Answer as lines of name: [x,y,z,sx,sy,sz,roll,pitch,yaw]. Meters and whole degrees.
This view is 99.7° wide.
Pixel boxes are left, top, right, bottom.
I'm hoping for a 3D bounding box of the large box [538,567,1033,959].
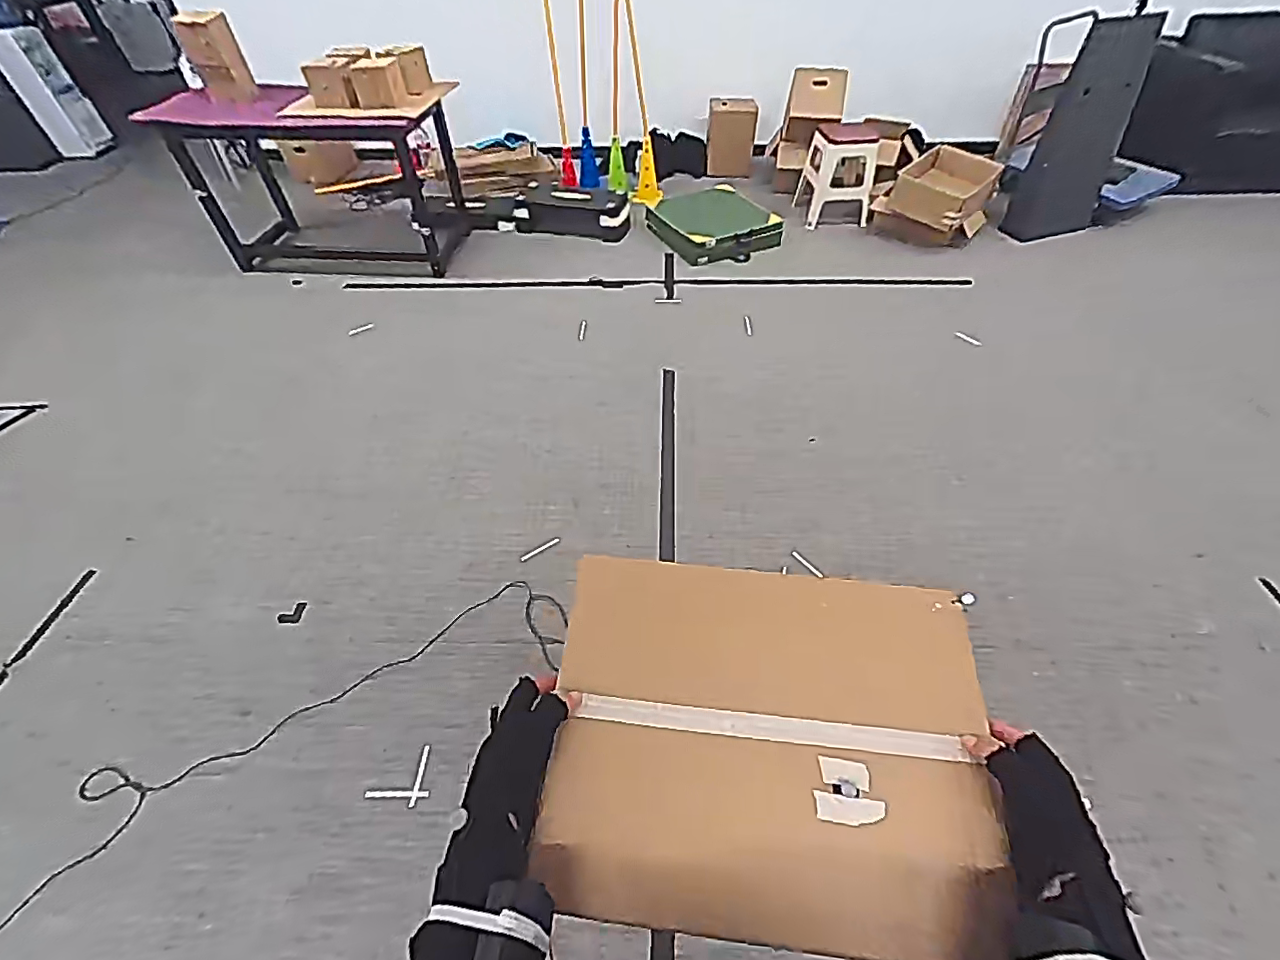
large box: [0.125,0.321,0.636,0.408,0.320,0.320,5,57,4]
